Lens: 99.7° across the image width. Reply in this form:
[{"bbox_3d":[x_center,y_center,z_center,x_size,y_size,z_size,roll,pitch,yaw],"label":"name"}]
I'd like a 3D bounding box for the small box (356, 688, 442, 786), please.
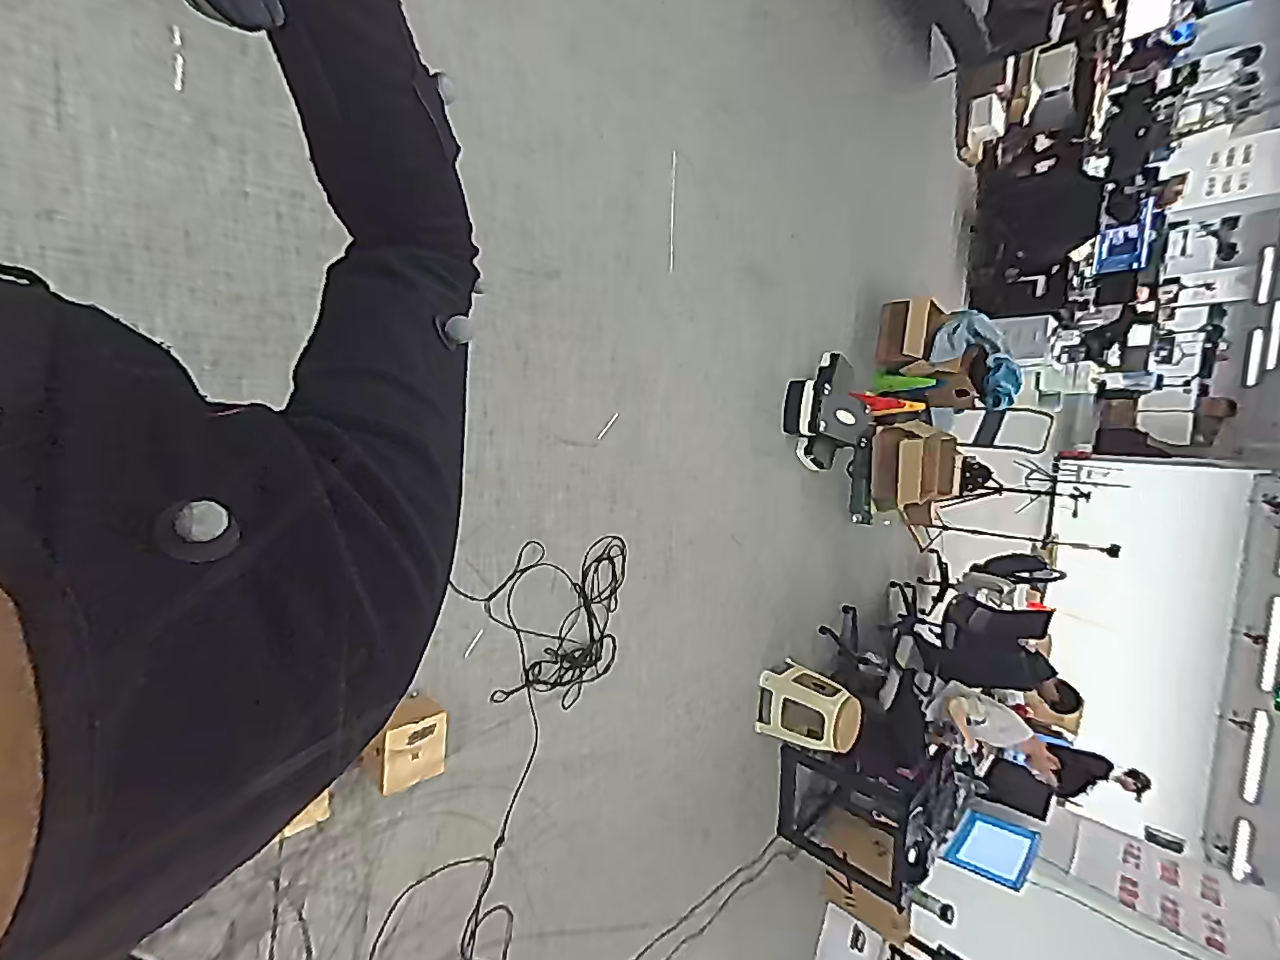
[{"bbox_3d":[-0.664,0.691,1.486,0.168,0.176,0.179,1,96,-46],"label":"small box"}]
